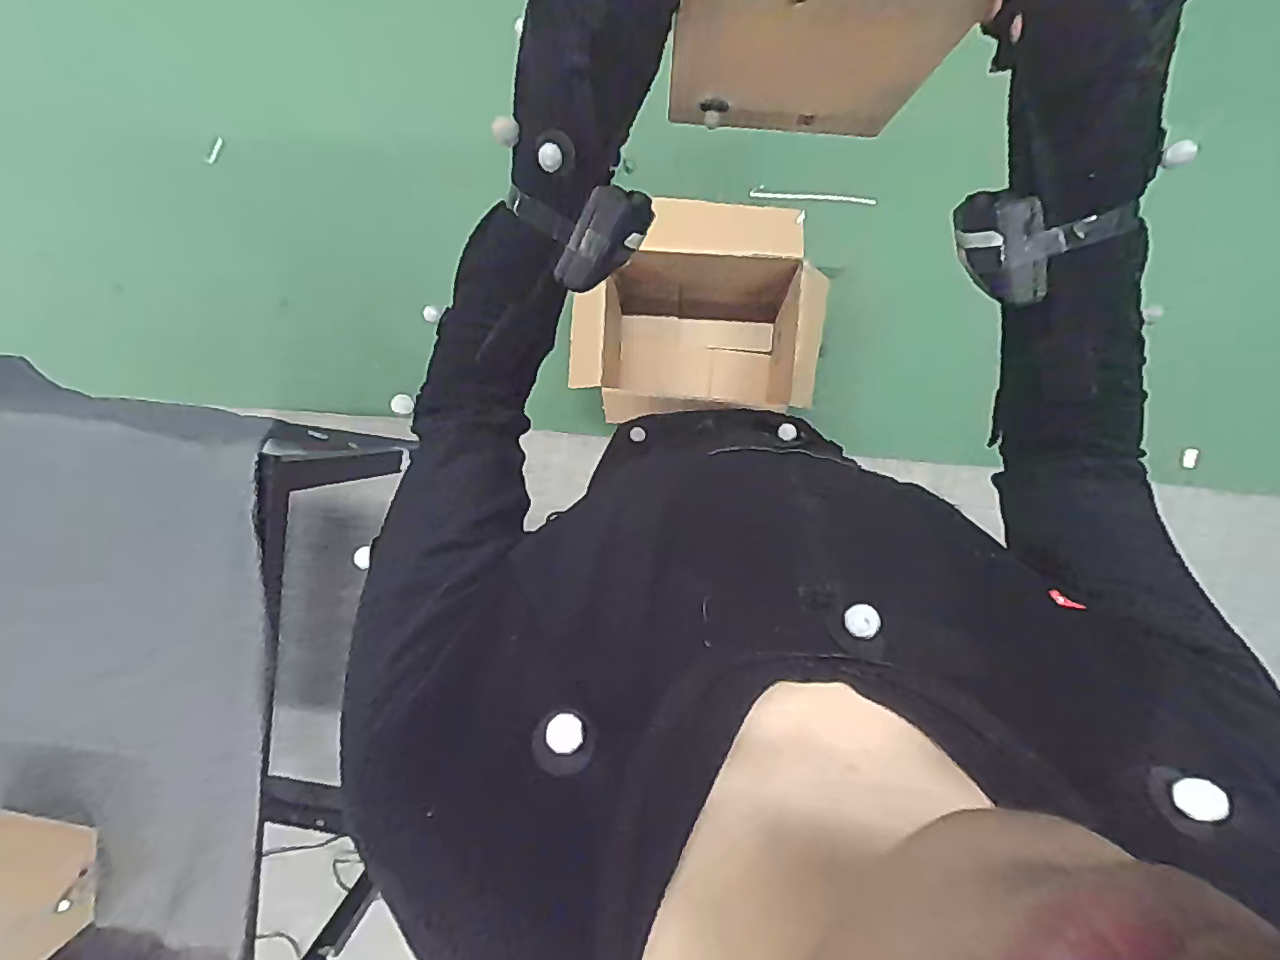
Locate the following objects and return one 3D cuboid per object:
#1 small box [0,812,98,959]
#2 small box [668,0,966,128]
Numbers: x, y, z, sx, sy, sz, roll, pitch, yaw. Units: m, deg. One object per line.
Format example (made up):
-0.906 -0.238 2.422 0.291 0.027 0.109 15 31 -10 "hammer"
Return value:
-0.965 0.626 0.791 0.179 0.176 0.168 9 96 3 "small box"
0.106 -0.347 0.328 0.168 0.176 0.179 4 98 0 "small box"
